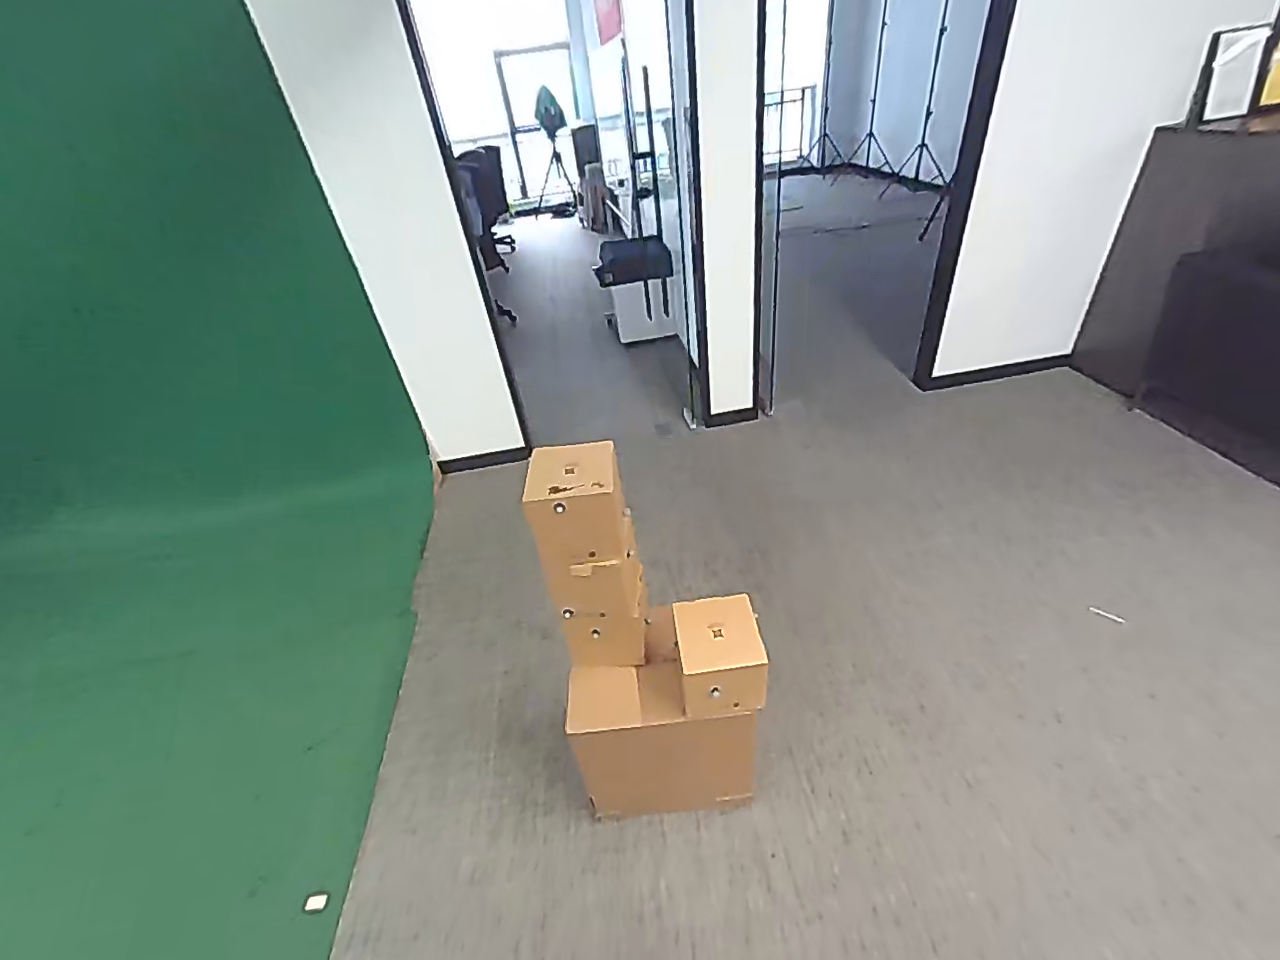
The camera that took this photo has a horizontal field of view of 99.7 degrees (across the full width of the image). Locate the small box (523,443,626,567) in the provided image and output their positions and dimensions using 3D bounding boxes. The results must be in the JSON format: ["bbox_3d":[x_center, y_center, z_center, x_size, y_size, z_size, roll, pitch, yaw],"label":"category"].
[{"bbox_3d":[-0.122,0.049,1.074,0.168,0.176,0.179,-7,35,3],"label":"small box"}]

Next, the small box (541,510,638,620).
[{"bbox_3d":[-0.099,0.185,1.165,0.168,0.176,0.179,-3,35,8],"label":"small box"}]

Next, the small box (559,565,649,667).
[{"bbox_3d":[-0.076,0.318,1.259,0.179,0.176,0.168,-3,37,6],"label":"small box"}]

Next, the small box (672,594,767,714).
[{"bbox_3d":[0.166,0.371,1.139,0.168,0.176,0.179,-8,36,0],"label":"small box"}]
